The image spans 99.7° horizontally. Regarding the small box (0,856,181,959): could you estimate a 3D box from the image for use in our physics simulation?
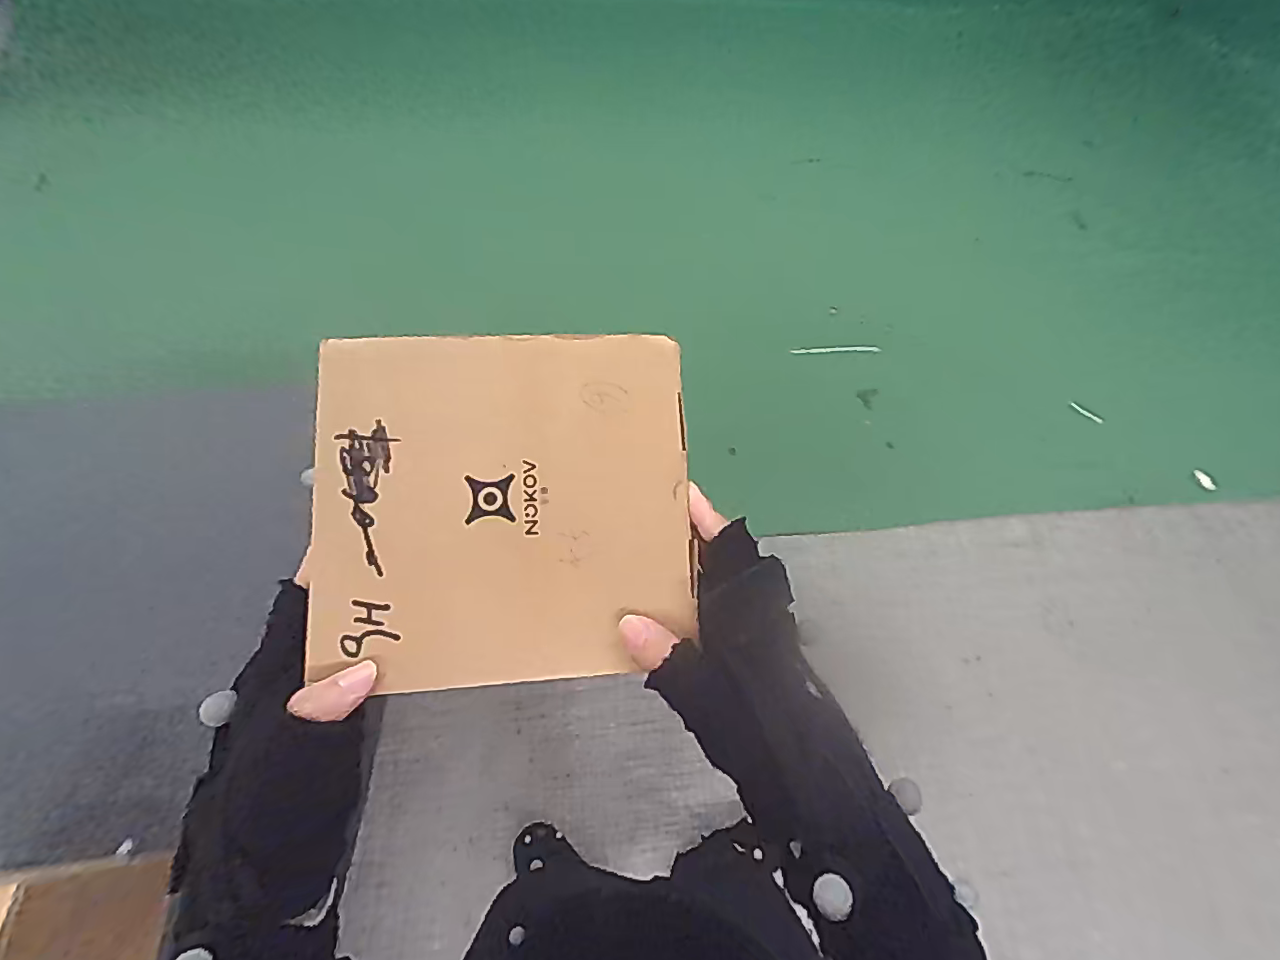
[{"bbox_3d":[-0.512,0.403,0.415,0.168,0.176,0.179,-3,62,-2],"label":"small box"}]

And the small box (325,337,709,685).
[{"bbox_3d":[-0.065,0.025,0.340,0.179,0.176,0.168,-1,79,-7],"label":"small box"}]
